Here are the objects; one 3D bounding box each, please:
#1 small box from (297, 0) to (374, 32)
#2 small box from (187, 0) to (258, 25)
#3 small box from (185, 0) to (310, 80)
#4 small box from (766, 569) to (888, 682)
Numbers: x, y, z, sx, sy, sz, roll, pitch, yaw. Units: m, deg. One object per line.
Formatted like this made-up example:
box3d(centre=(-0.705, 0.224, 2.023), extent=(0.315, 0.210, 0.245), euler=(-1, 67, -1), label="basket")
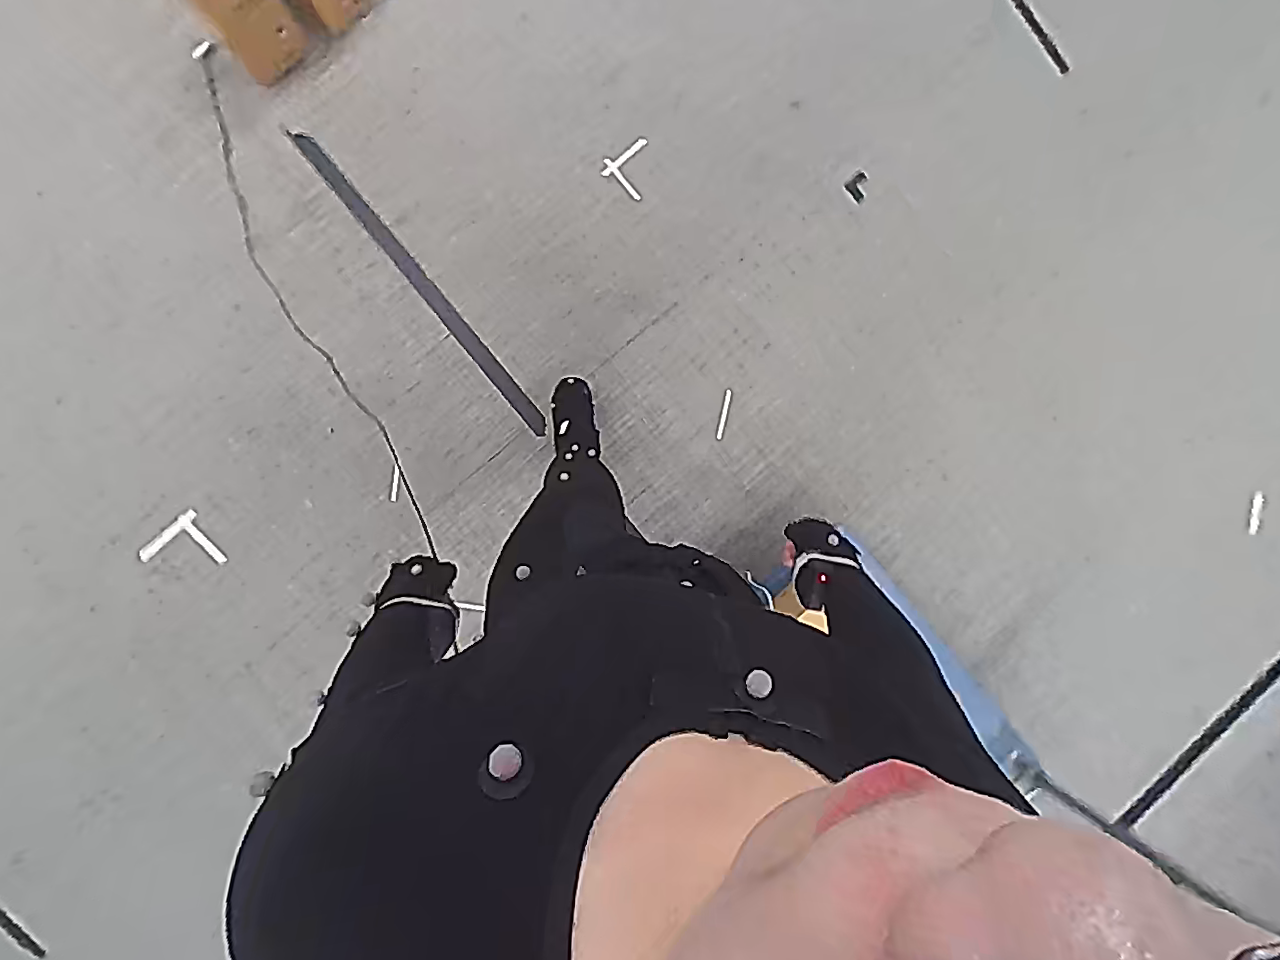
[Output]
box3d(centre=(-0.795, -1.272, 1.326), extent=(0.179, 0.176, 0.168), euler=(41, 87, -5), label="small box")
box3d(centre=(-0.945, -1.130, 1.150), extent=(0.179, 0.176, 0.168), euler=(41, 86, -5), label="small box")
box3d(centre=(-0.956, -1.126, 1.314), extent=(0.168, 0.176, 0.179), euler=(-45, 93, -3), label="small box")
box3d(centre=(0.425, 0.326, 1.262), extent=(0.168, 0.176, 0.179), euler=(-41, 95, -2), label="small box")
